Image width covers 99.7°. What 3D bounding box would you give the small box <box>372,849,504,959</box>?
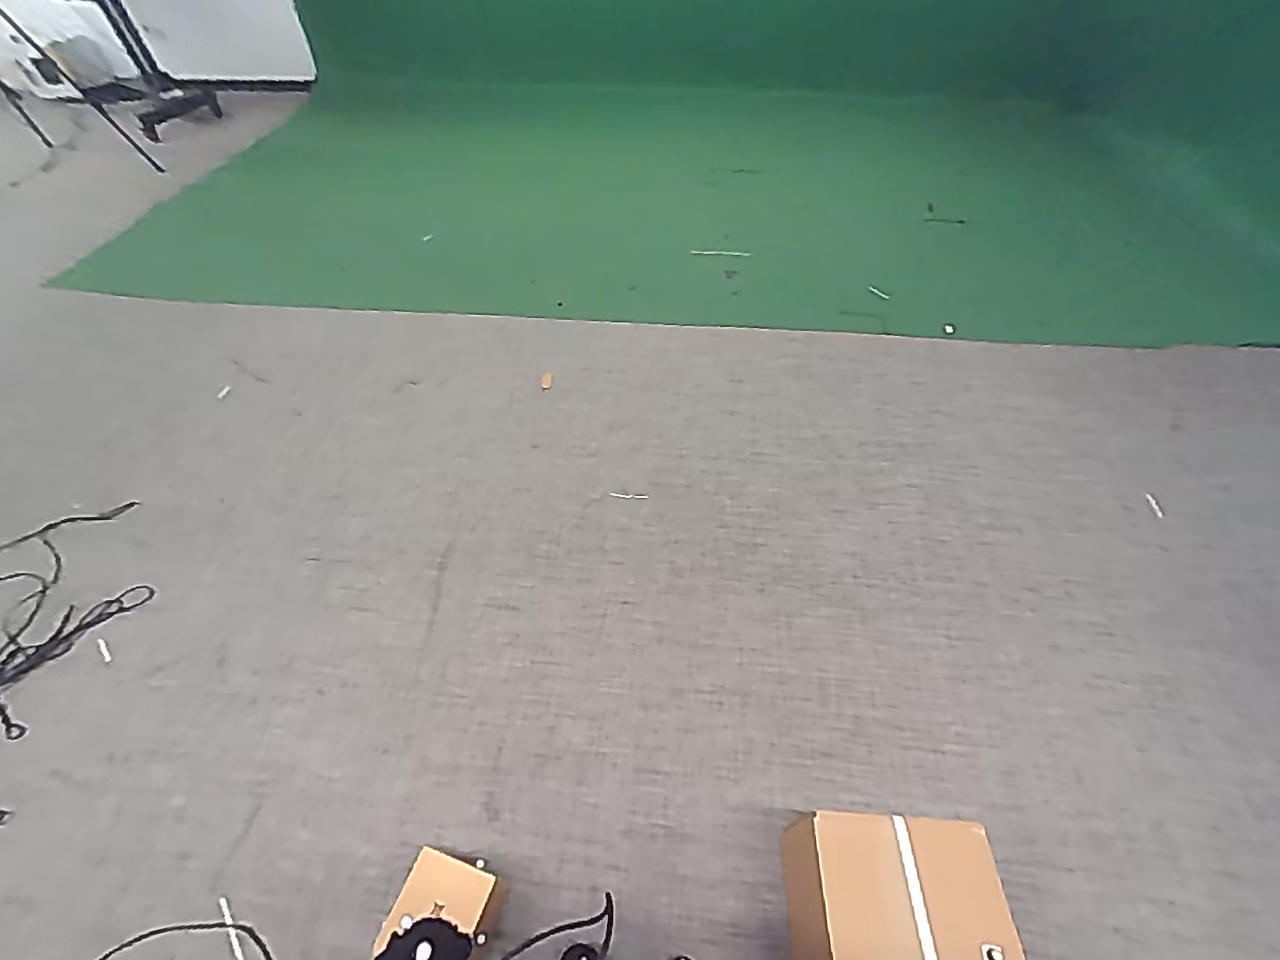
[{"bbox_3d":[-0.389,0.876,1.083,0.168,0.176,0.179,14,52,12],"label":"small box"}]
